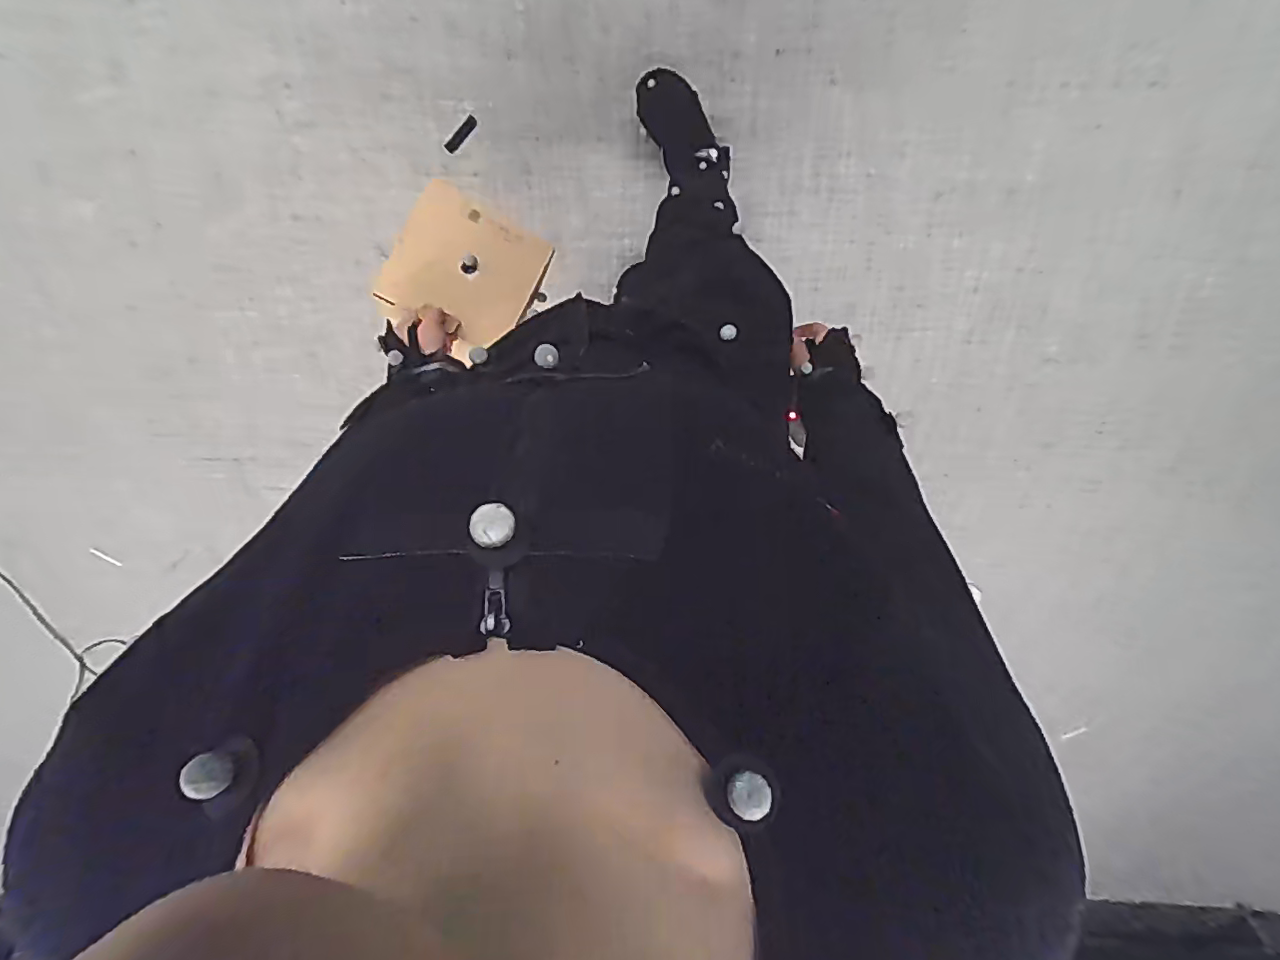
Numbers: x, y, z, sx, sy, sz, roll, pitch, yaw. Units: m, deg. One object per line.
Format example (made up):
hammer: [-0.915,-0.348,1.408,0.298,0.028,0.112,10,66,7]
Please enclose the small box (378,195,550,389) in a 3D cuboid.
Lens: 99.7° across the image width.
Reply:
small box: [-0.240,-0.254,0.758,0.168,0.179,0.176,26,80,-15]
